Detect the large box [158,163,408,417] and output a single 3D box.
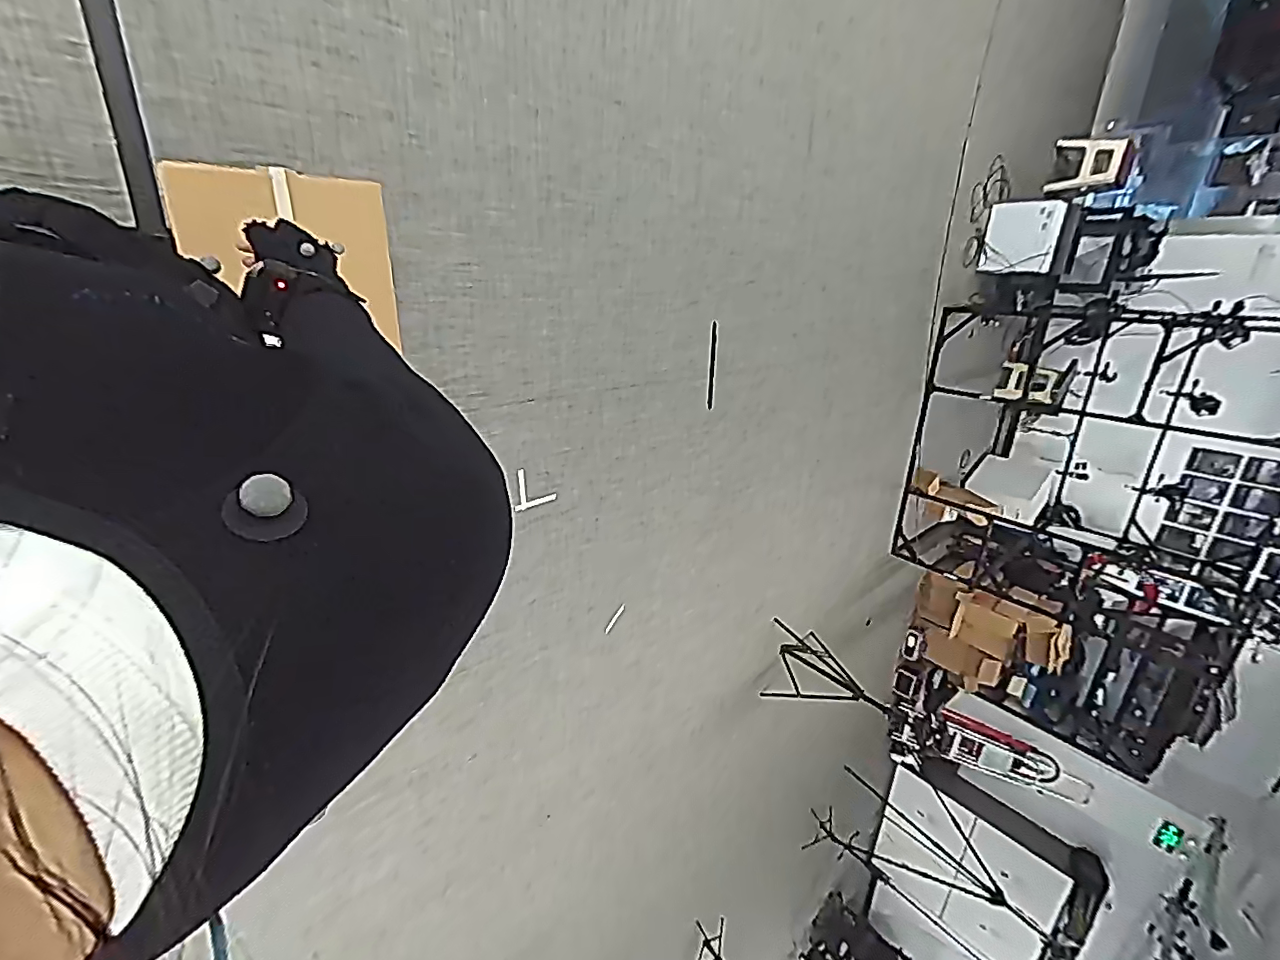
[{"bbox_3d":[-0.685,-0.372,1.073,0.320,0.320,0.408,-12,117,-32],"label":"large box"}]
